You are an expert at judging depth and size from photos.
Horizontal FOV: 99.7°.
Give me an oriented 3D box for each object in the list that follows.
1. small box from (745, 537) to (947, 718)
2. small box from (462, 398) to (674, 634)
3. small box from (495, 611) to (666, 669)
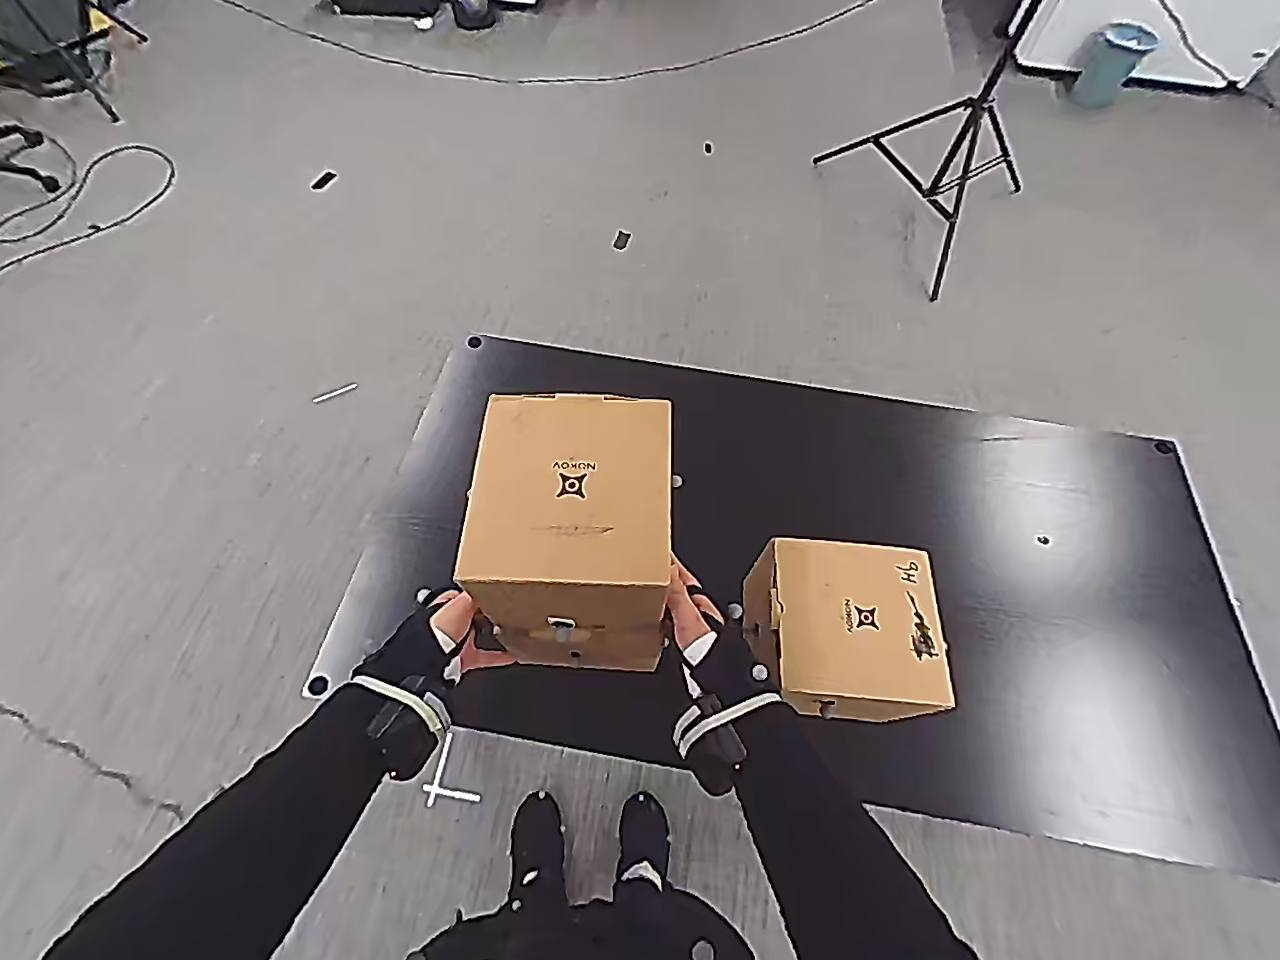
[{"bbox_3d":[0.224,0.182,0.643,0.179,0.176,0.168,5,61,2],"label":"small box"},{"bbox_3d":[-0.055,0.041,0.523,0.168,0.176,0.179,1,62,0],"label":"small box"},{"bbox_3d":[-0.060,0.130,0.659,0.179,0.176,0.168,3,61,0],"label":"small box"}]
